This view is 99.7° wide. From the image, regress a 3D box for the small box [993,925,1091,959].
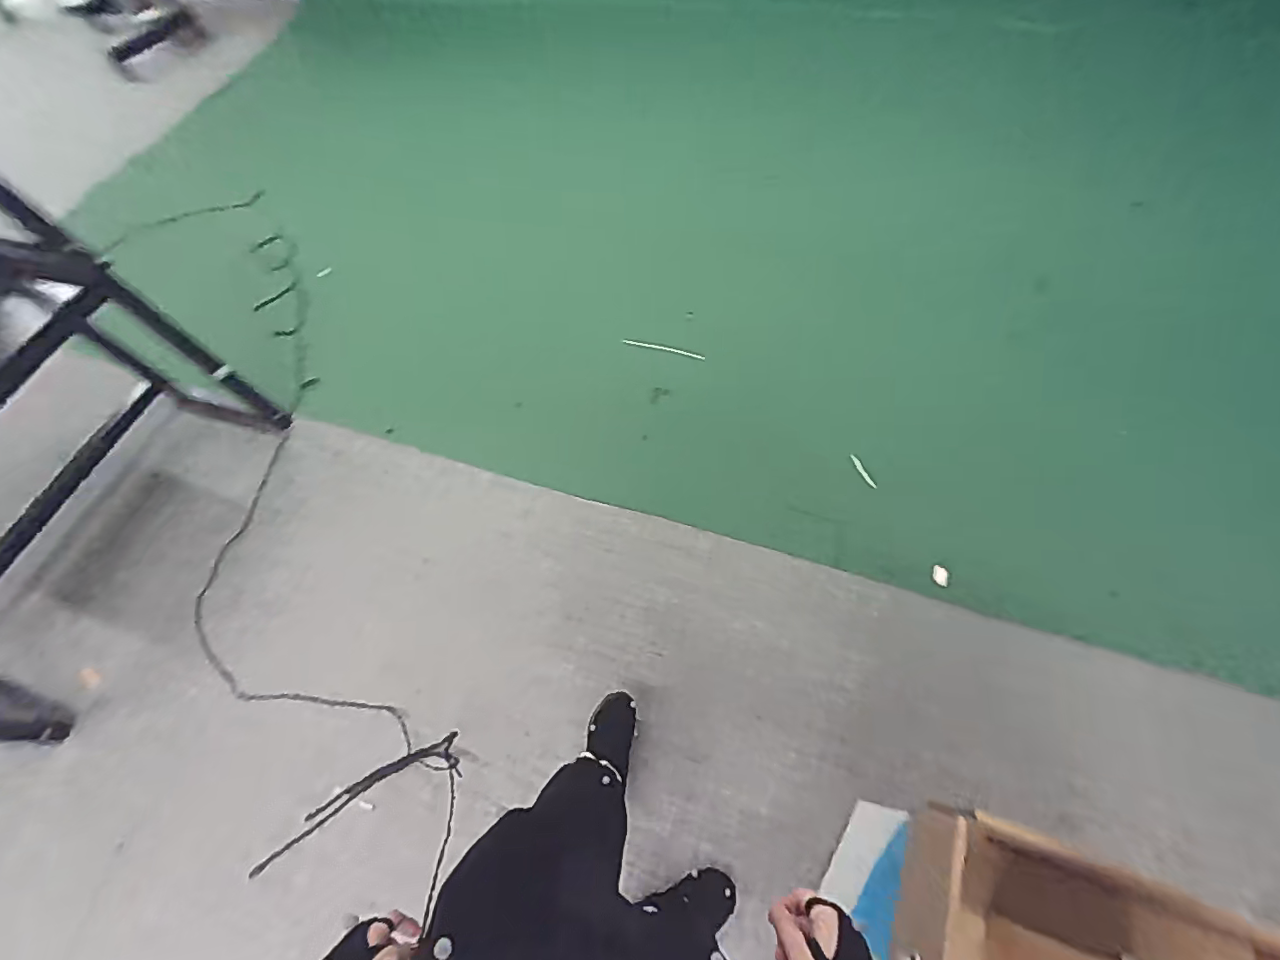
[{"bbox_3d":[0.483,0.611,0.556,0.168,0.176,0.179,16,68,14],"label":"small box"}]
